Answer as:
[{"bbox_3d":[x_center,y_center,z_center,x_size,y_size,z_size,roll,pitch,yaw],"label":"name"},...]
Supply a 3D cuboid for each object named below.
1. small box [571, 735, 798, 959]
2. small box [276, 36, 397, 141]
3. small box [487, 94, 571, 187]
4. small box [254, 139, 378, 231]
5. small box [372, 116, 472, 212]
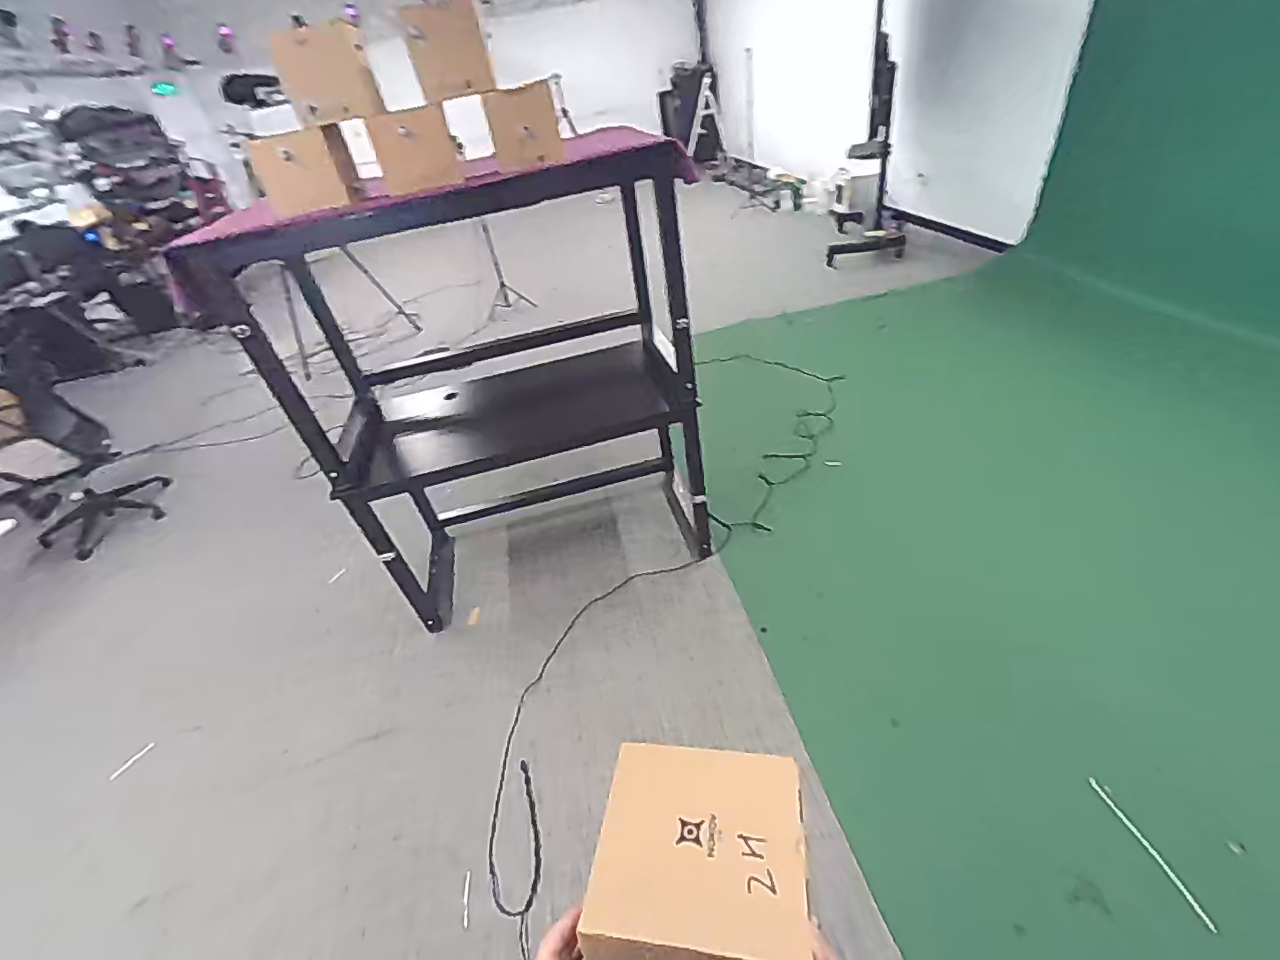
[{"bbox_3d":[0.053,0.371,0.504,0.179,0.176,0.168,-1,26,12],"label":"small box"},{"bbox_3d":[-0.680,-0.886,1.238,0.168,0.176,0.179,-14,35,-5],"label":"small box"},{"bbox_3d":[-0.275,-0.848,1.357,0.168,0.176,0.179,-13,37,-3],"label":"small box"},{"bbox_3d":[-0.775,-0.718,1.314,0.179,0.176,0.168,-11,36,-2],"label":"small box"},{"bbox_3d":[-0.526,-0.781,1.335,0.179,0.176,0.168,-16,36,-5],"label":"small box"}]
